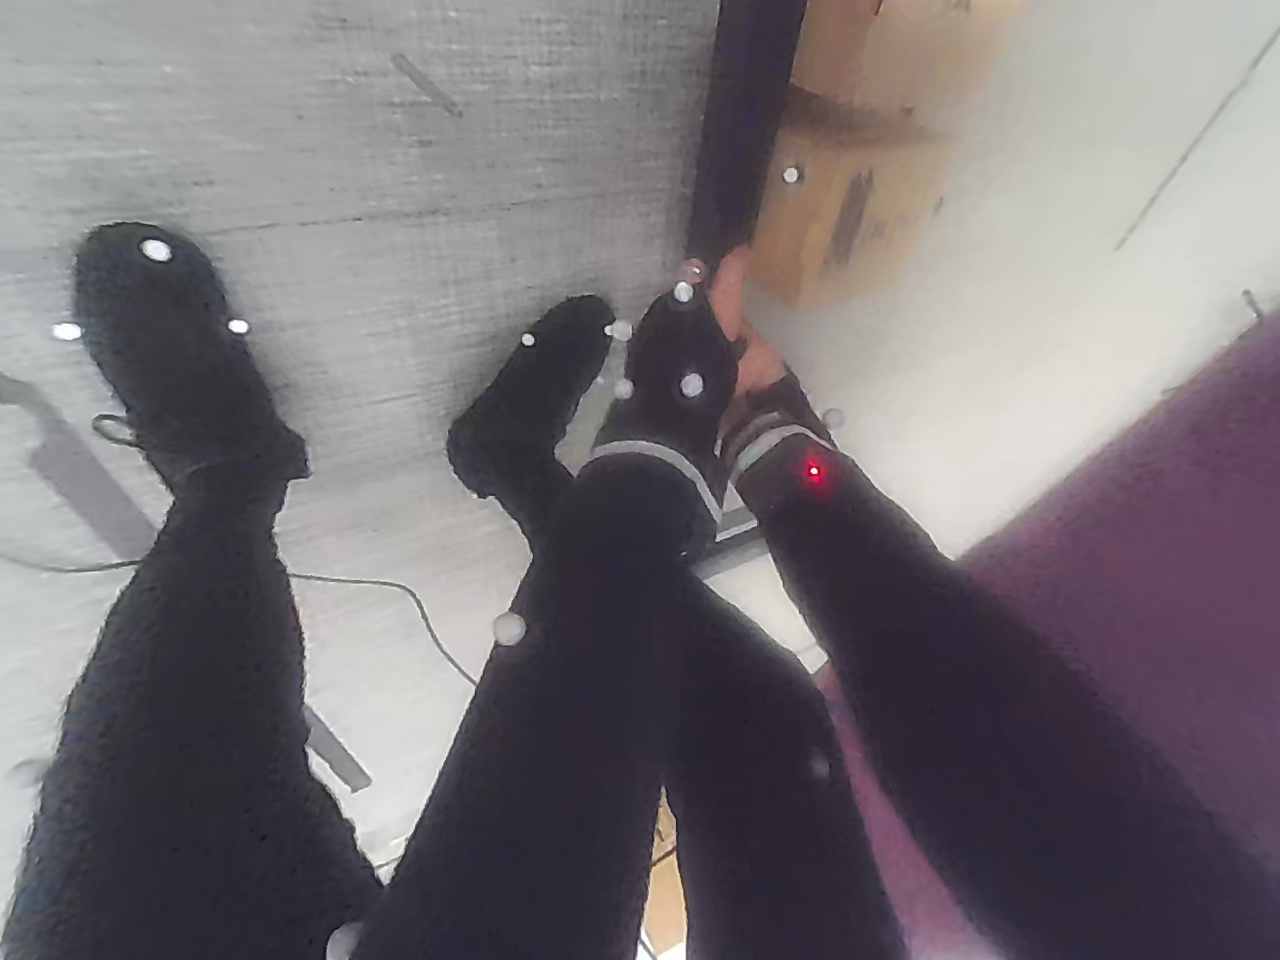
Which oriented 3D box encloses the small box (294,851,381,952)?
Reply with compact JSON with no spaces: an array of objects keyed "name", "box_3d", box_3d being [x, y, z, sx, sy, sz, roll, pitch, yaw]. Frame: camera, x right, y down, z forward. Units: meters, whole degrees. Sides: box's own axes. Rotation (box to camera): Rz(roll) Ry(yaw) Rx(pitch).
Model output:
[{"name":"small box","box_3d":[-0.865,1.204,1.543,0.179,0.176,0.168,-18,141,-20]}]
